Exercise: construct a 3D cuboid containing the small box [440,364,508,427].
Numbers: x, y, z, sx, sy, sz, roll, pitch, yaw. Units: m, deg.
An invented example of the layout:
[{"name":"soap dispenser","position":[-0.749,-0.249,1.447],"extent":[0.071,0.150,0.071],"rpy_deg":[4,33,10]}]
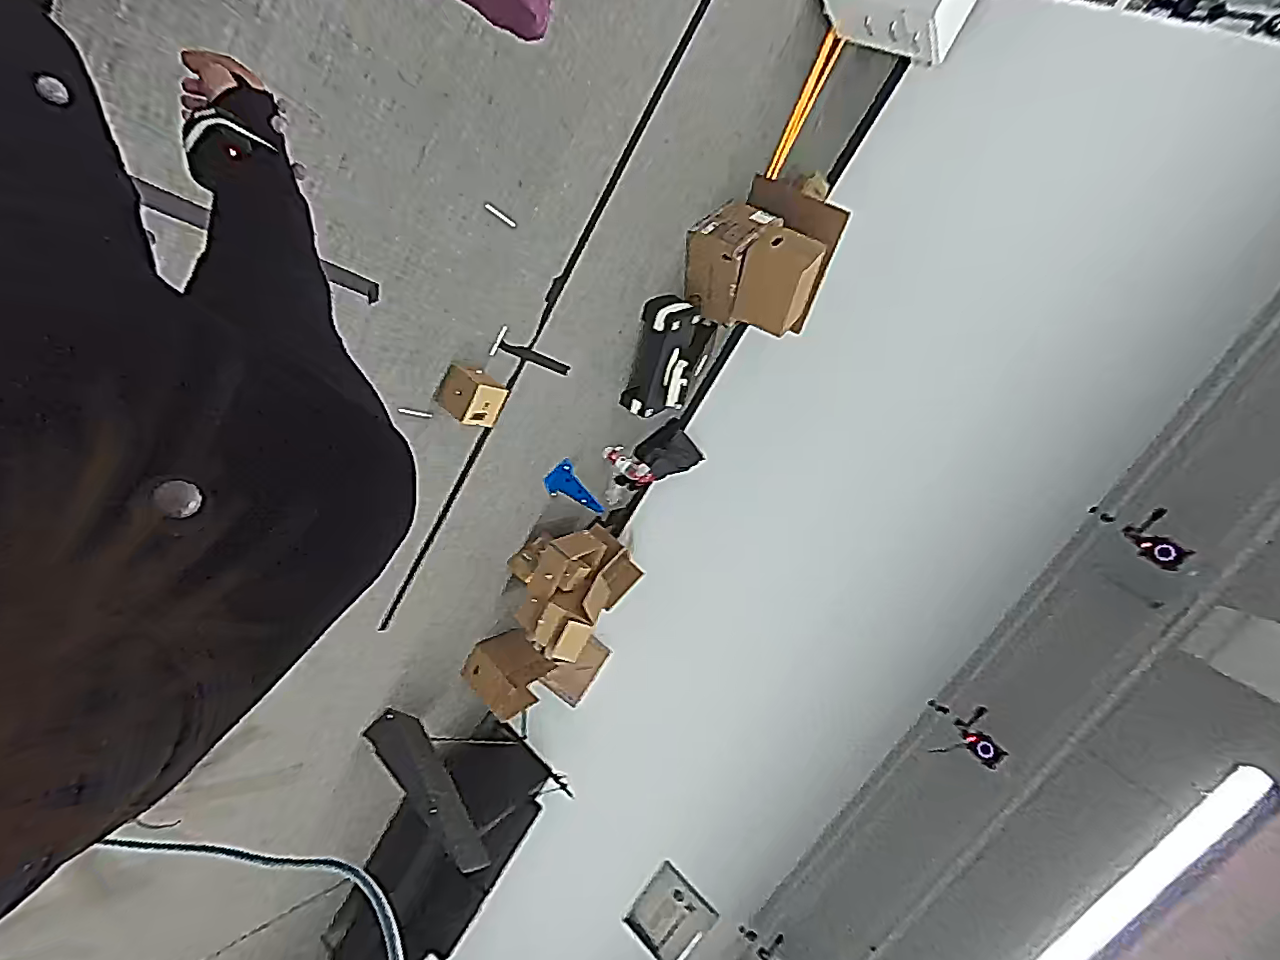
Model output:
[{"name":"small box","position":[-0.675,-0.338,2.173],"extent":[0.179,0.176,0.168],"rpy_deg":[-59,157,14]}]
